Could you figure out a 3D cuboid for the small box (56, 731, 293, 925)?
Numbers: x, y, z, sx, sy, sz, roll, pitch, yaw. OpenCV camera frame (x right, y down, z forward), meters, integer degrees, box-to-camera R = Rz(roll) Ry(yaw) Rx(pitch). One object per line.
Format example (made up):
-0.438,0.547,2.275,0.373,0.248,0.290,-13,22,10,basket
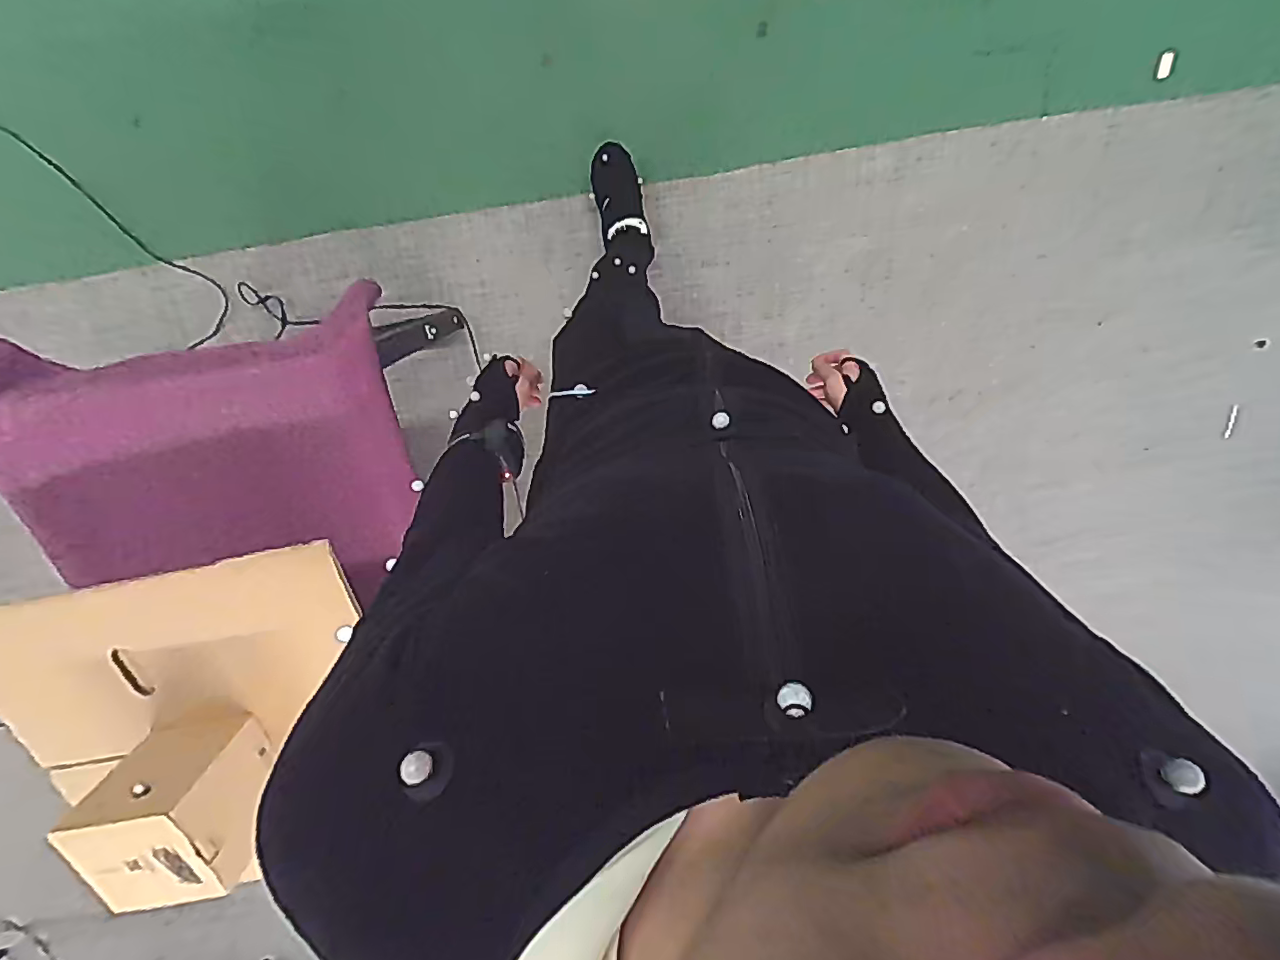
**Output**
-0.649,0.495,0.788,0.179,0.176,0.168,-11,110,4,small box
